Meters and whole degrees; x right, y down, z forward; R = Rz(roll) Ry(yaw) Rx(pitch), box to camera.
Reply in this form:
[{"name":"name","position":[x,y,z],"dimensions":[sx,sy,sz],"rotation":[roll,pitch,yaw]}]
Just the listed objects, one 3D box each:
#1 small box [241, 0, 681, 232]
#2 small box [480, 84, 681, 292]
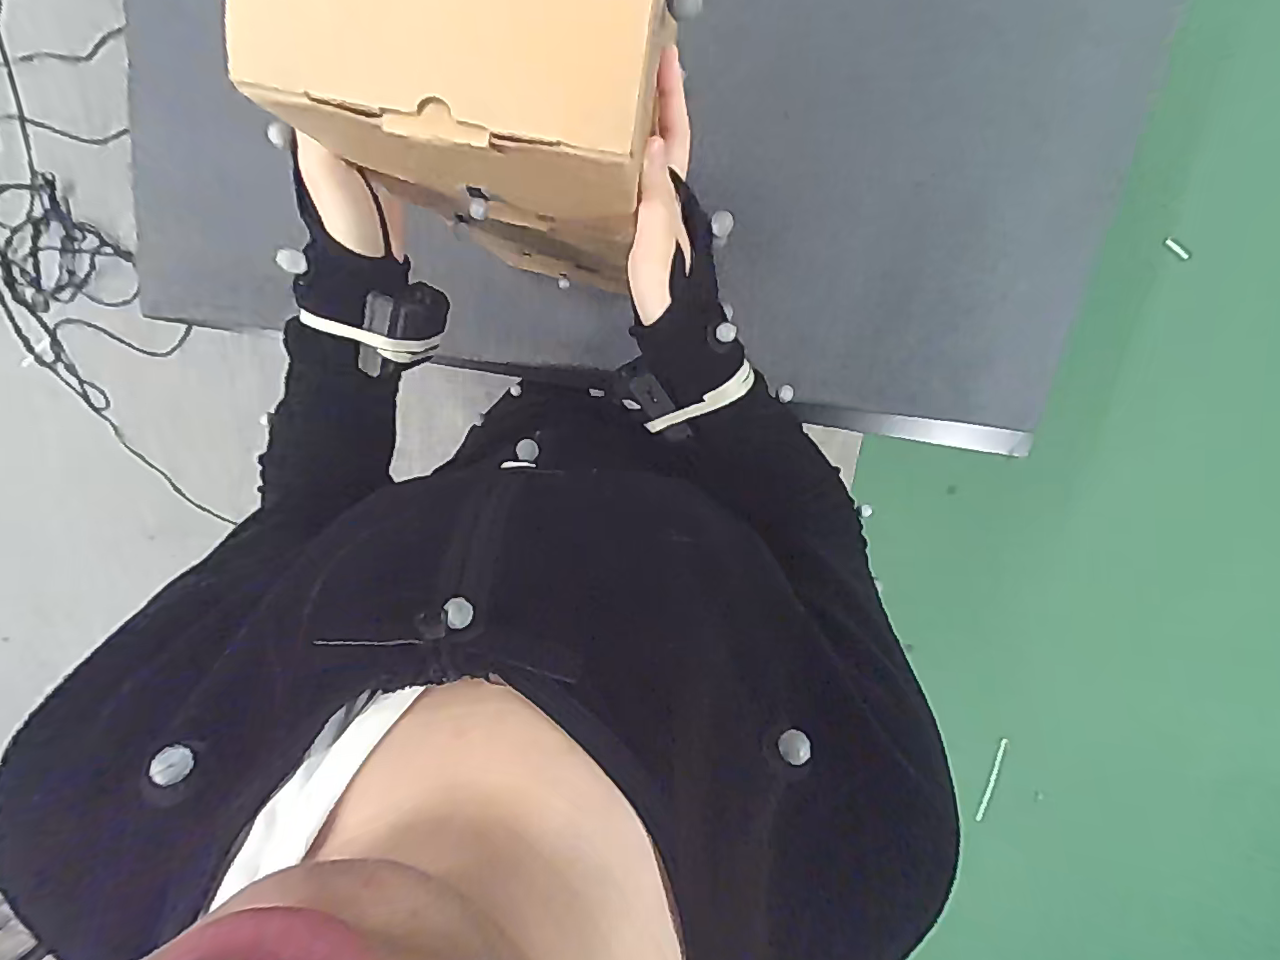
[{"name":"small box","position":[-0.063,-0.249,0.277],"dimensions":[0.168,0.176,0.179],"rotation":[8,103,-2]},{"name":"small box","position":[-0.060,-0.321,0.596],"dimensions":[0.168,0.176,0.179],"rotation":[13,103,-2]}]
